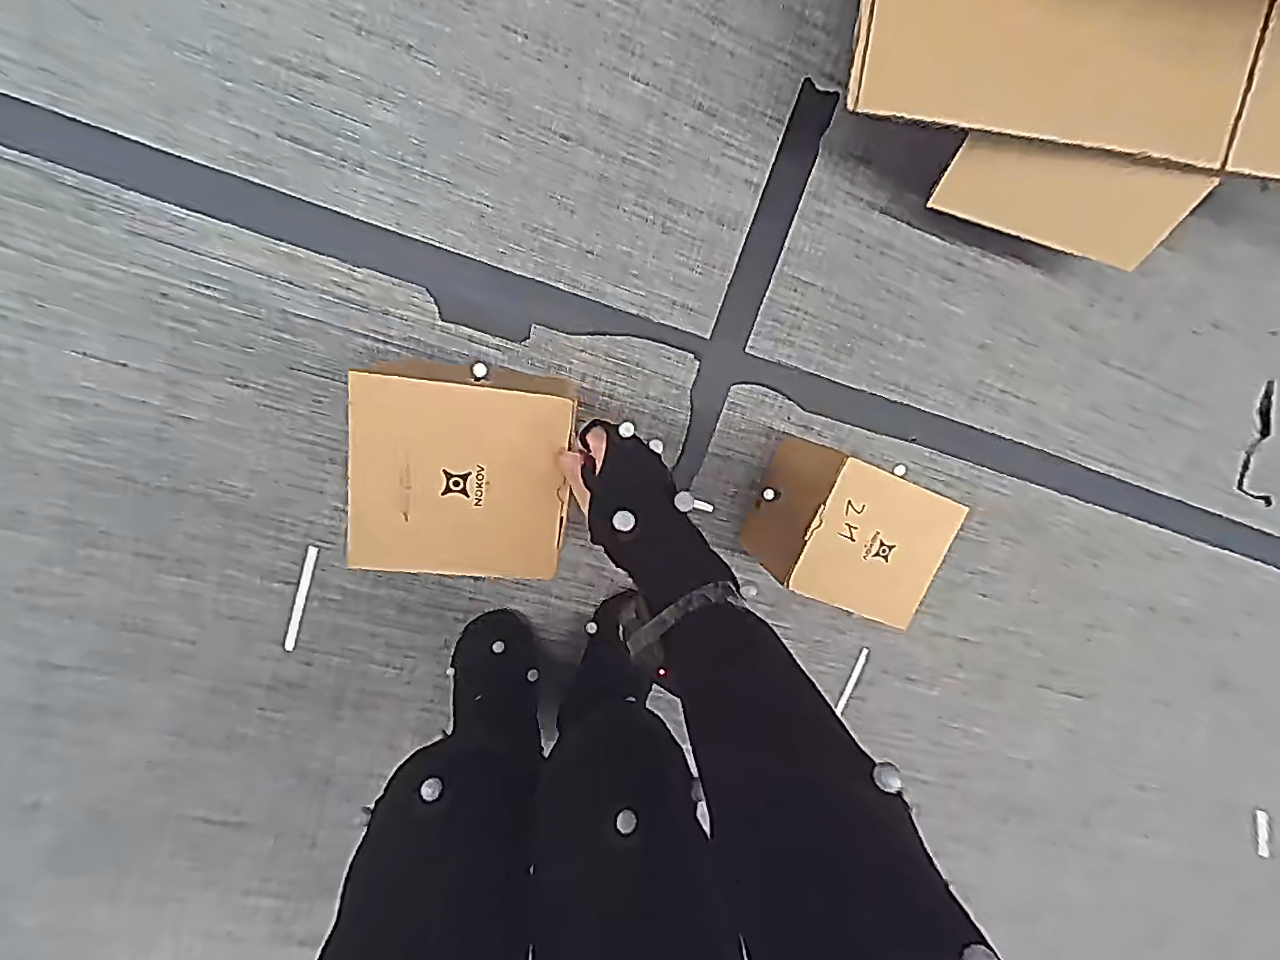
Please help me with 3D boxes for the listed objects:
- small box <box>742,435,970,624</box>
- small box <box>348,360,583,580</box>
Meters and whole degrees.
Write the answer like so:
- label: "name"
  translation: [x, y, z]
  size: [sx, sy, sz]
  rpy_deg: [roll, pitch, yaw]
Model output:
- label: "small box"
  translation: [0.261, 0.053, 0.694]
  size: [0.179, 0.176, 0.168]
  rpy_deg: [21, 99, -14]
- label: "small box"
  translation: [-0.155, -0.019, 0.512]
  size: [0.179, 0.176, 0.168]
  rpy_deg: [5, 104, -11]
